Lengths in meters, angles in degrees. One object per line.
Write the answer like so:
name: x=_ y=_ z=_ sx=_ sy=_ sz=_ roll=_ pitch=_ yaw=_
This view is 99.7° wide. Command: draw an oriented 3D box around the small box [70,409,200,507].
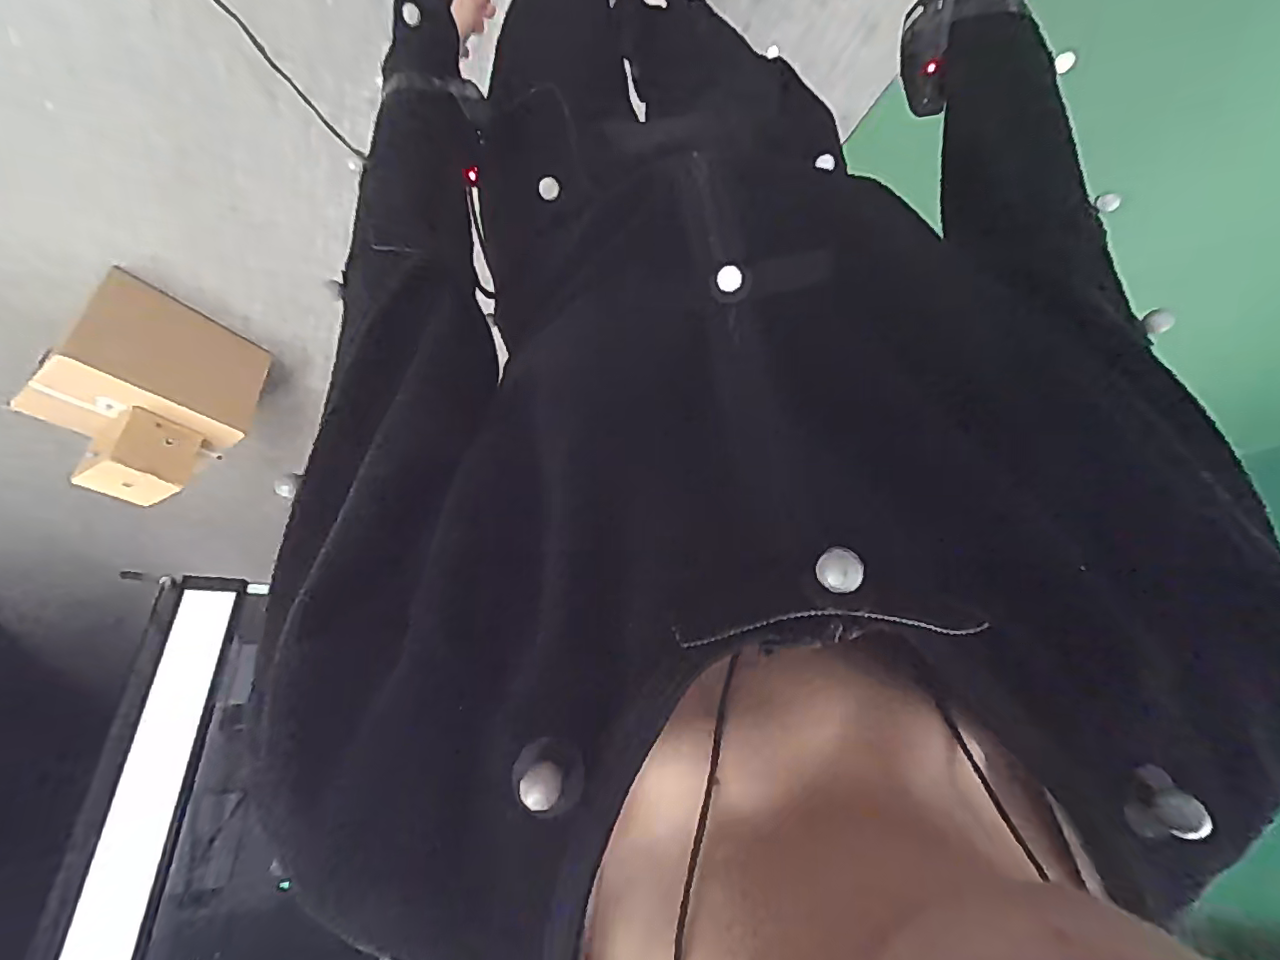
small box: x=-1.299 y=-0.056 z=1.405 sx=0.179 sy=0.176 sz=0.168 roll=-19 pitch=147 yaw=21

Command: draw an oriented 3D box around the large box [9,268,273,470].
large box: x=-1.337 y=-0.284 z=1.494 sx=0.320 sy=0.320 sz=0.408 roll=-22 pitch=144 yaw=24
